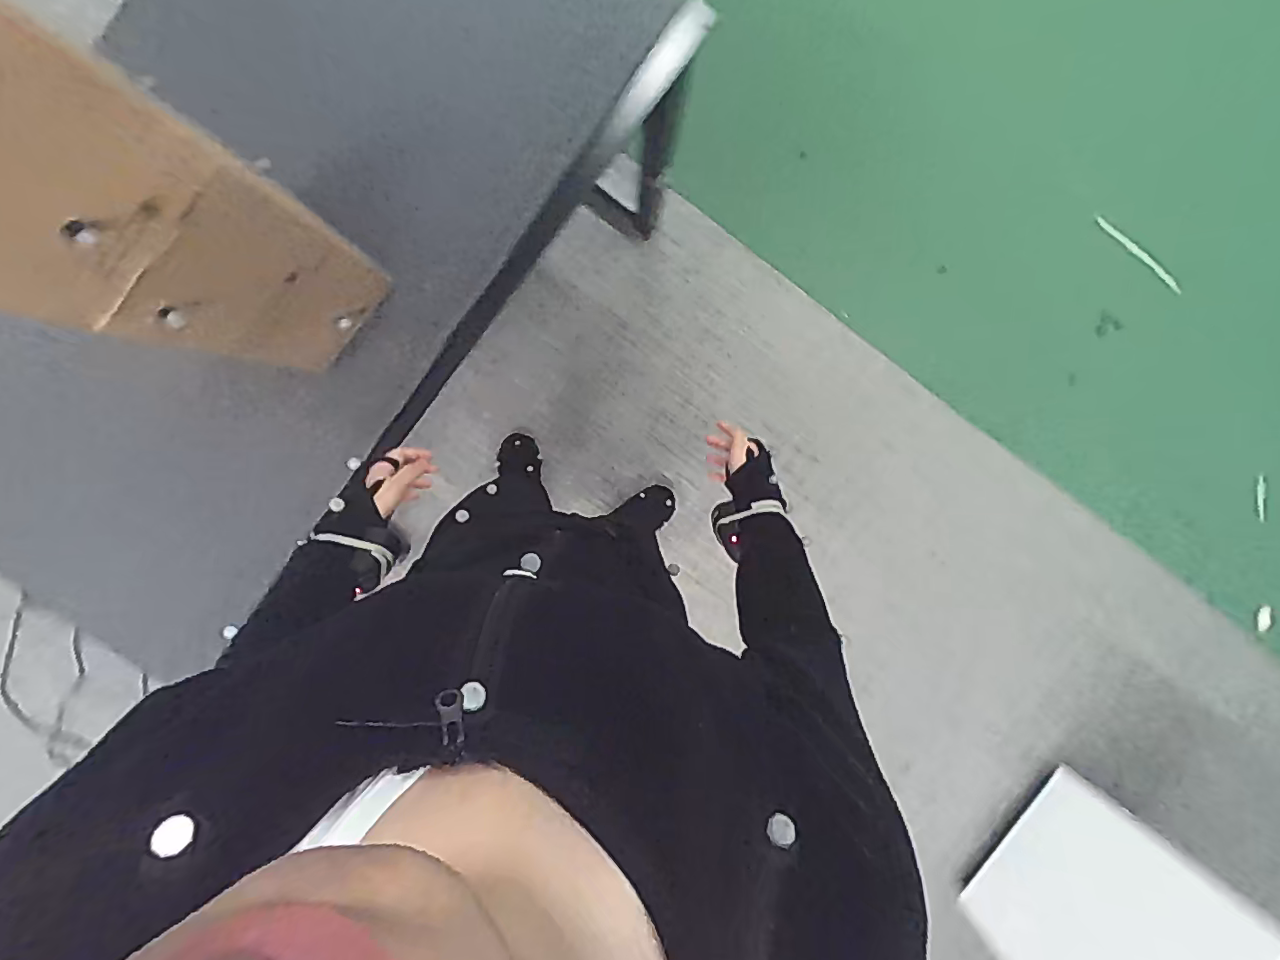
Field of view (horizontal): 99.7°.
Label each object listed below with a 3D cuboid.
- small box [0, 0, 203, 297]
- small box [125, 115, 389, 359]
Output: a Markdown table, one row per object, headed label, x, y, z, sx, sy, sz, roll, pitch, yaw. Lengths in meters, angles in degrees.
| label | x | y | z | sx | sy | sz | roll | pitch | yaw |
| --- | --- | --- | --- | --- | --- | --- | --- | --- | --- |
| small box | -0.426 | -0.234 | 0.312 | 0.179 | 0.176 | 0.168 | 37 | 92 | -4 |
| small box | -0.443 | -0.263 | 0.637 | 0.179 | 0.176 | 0.168 | 39 | 92 | -4 |
